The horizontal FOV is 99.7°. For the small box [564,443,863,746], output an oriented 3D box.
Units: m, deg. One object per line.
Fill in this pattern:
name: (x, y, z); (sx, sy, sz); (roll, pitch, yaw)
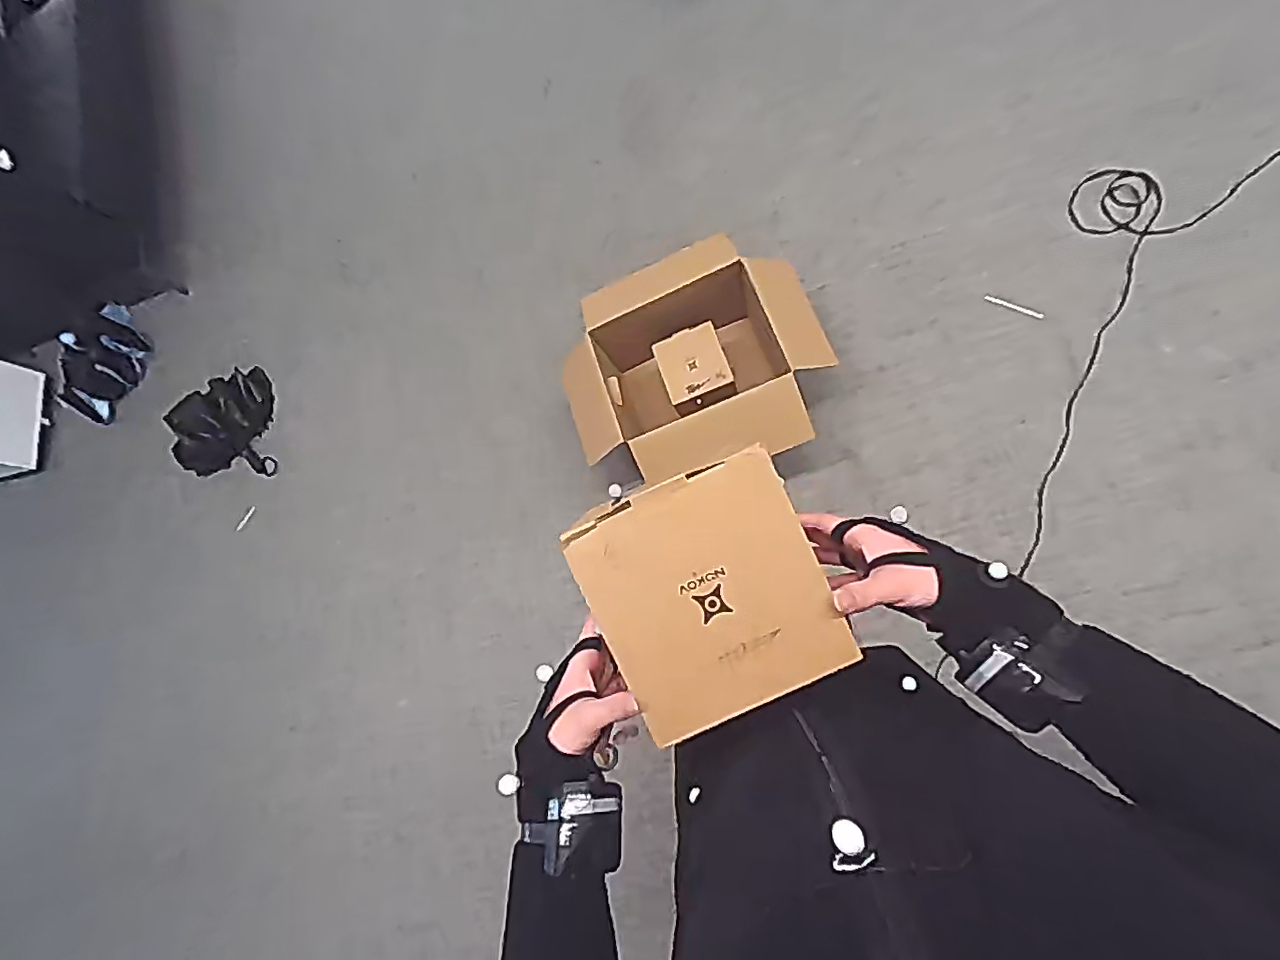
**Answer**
small box: (0.054, 0.081, 0.468); (0.168, 0.176, 0.179); (-25, 93, 3)
